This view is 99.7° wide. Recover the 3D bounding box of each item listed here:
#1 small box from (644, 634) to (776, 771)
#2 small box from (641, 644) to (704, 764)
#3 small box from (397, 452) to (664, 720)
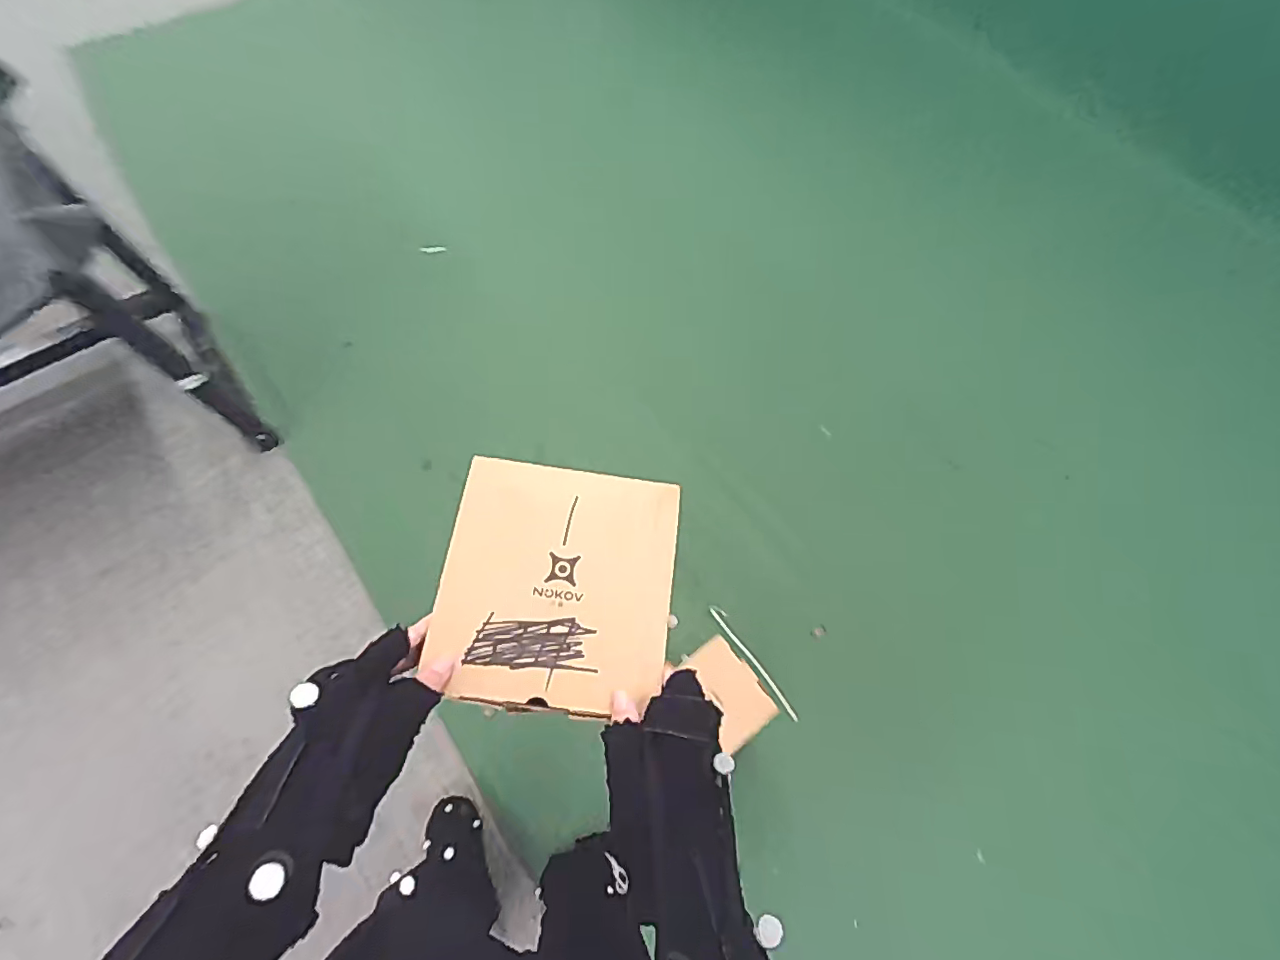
[{"bbox_3d":[0.122,0.422,1.033,0.179,0.176,0.168,-33,71,-17],"label":"small box"},{"bbox_3d":[0.113,0.480,1.166,0.179,0.176,0.168,-32,69,-15],"label":"small box"},{"bbox_3d":[-0.077,0.098,0.459,0.168,0.176,0.179,8,67,-3],"label":"small box"}]
